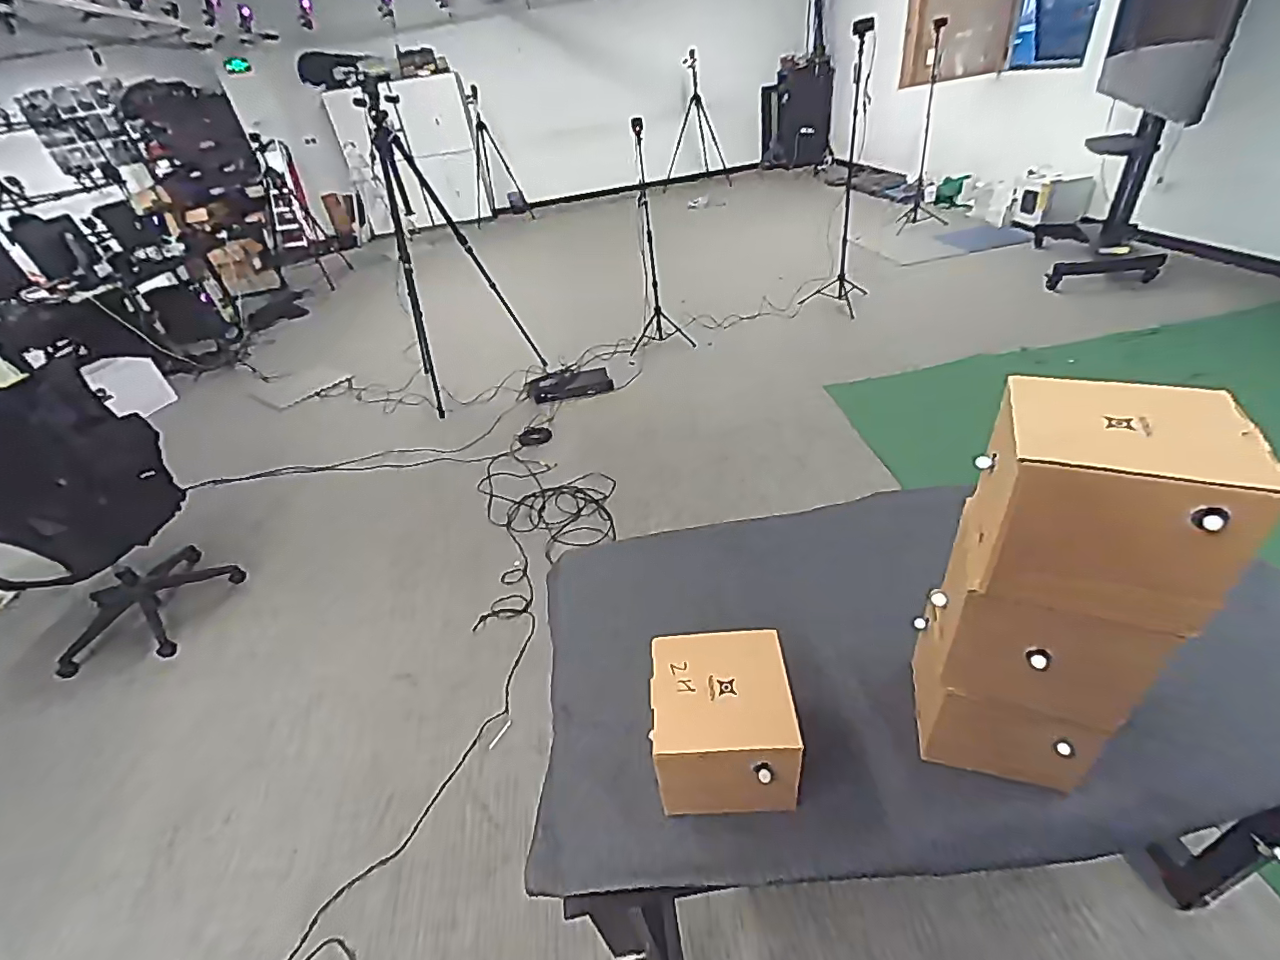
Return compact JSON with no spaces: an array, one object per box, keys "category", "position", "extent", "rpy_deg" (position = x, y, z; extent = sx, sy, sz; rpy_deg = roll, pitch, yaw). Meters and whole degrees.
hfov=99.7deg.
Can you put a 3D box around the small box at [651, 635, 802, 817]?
[{"category":"small box","position":[0.110,0.333,0.731],"extent":[0.179,0.176,0.168],"rpy_deg":[-6,37,5]}]

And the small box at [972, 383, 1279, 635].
[{"category":"small box","position":[0.435,0.022,0.523],"extent":[0.179,0.176,0.168],"rpy_deg":[10,40,24]}]

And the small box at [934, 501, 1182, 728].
[{"category":"small box","position":[0.454,0.151,0.620],"extent":[0.179,0.176,0.168],"rpy_deg":[10,40,26]}]
